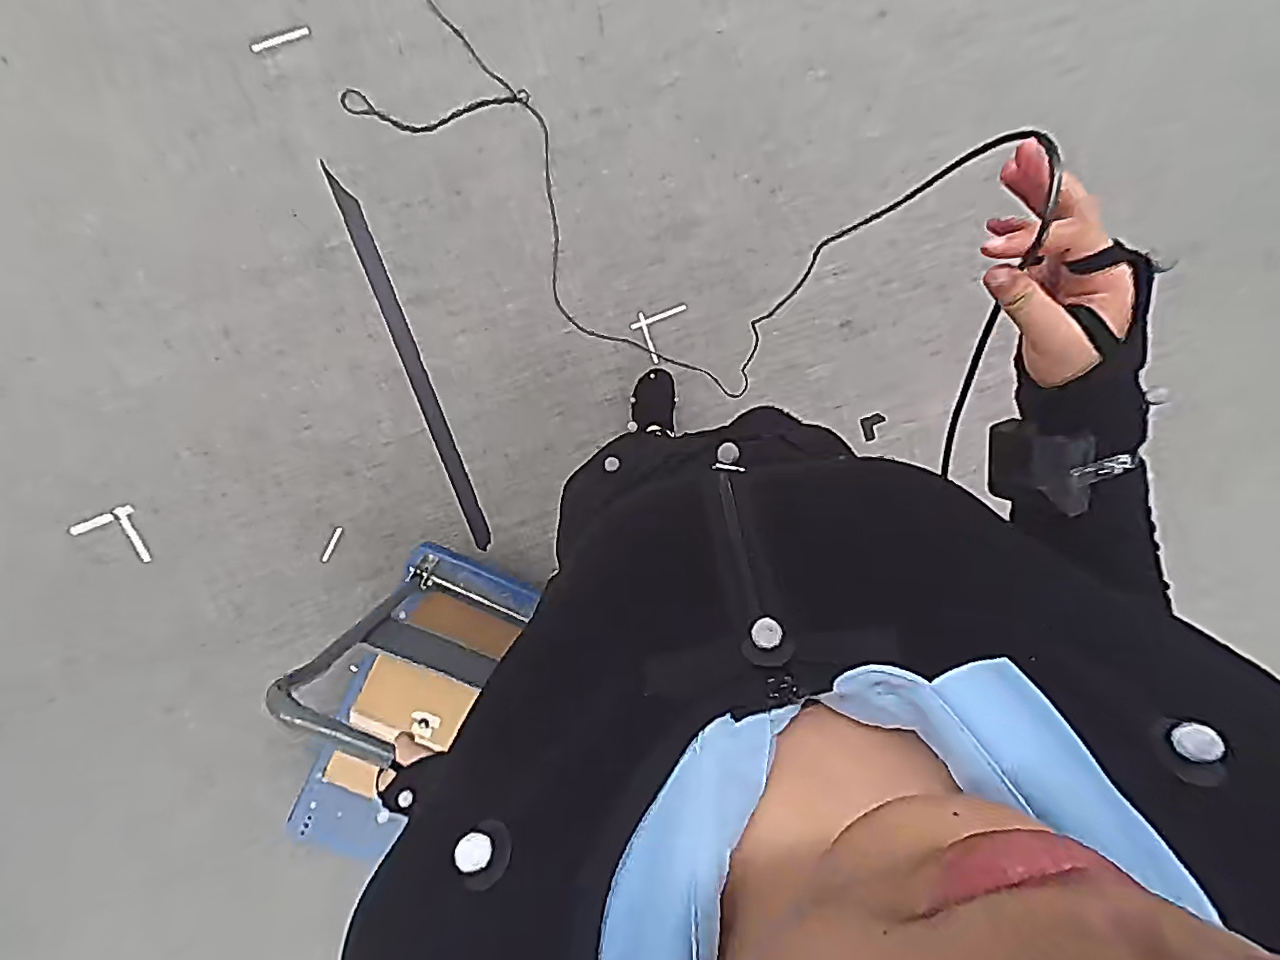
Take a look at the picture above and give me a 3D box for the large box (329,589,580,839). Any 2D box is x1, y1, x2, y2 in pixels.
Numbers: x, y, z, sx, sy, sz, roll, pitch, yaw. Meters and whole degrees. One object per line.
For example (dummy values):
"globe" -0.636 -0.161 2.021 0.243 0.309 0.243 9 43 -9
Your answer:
"large box" -0.385 0.507 1.229 0.408 0.320 0.320 26 96 -6
